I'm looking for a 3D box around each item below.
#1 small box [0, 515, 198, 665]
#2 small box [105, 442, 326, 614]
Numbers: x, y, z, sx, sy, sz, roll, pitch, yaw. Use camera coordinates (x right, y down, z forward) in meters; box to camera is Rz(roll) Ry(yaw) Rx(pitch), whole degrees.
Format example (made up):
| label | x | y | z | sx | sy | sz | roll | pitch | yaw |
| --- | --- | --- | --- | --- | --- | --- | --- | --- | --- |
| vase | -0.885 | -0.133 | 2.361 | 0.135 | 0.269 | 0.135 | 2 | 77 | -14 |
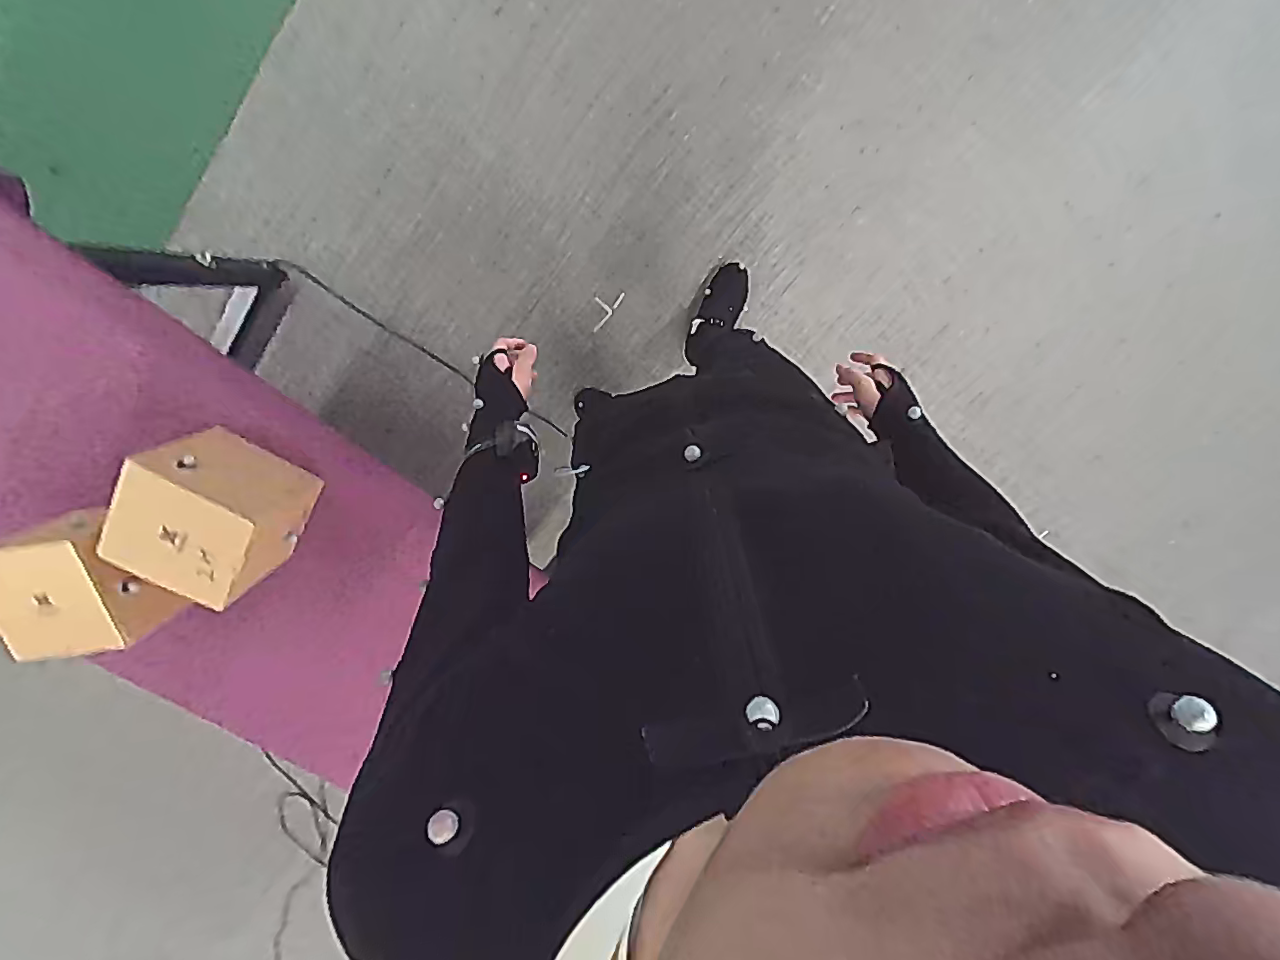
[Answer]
| label | x | y | z | sx | sy | sz | roll | pitch | yaw |
| --- | --- | --- | --- | --- | --- | --- | --- | --- | --- |
| small box | -0.831 | 0.156 | 0.845 | 0.168 | 0.176 | 0.179 | -8 | 110 | 1 |
| small box | -0.620 | 0.060 | 0.810 | 0.179 | 0.176 | 0.168 | 30 | 108 | -11 |
